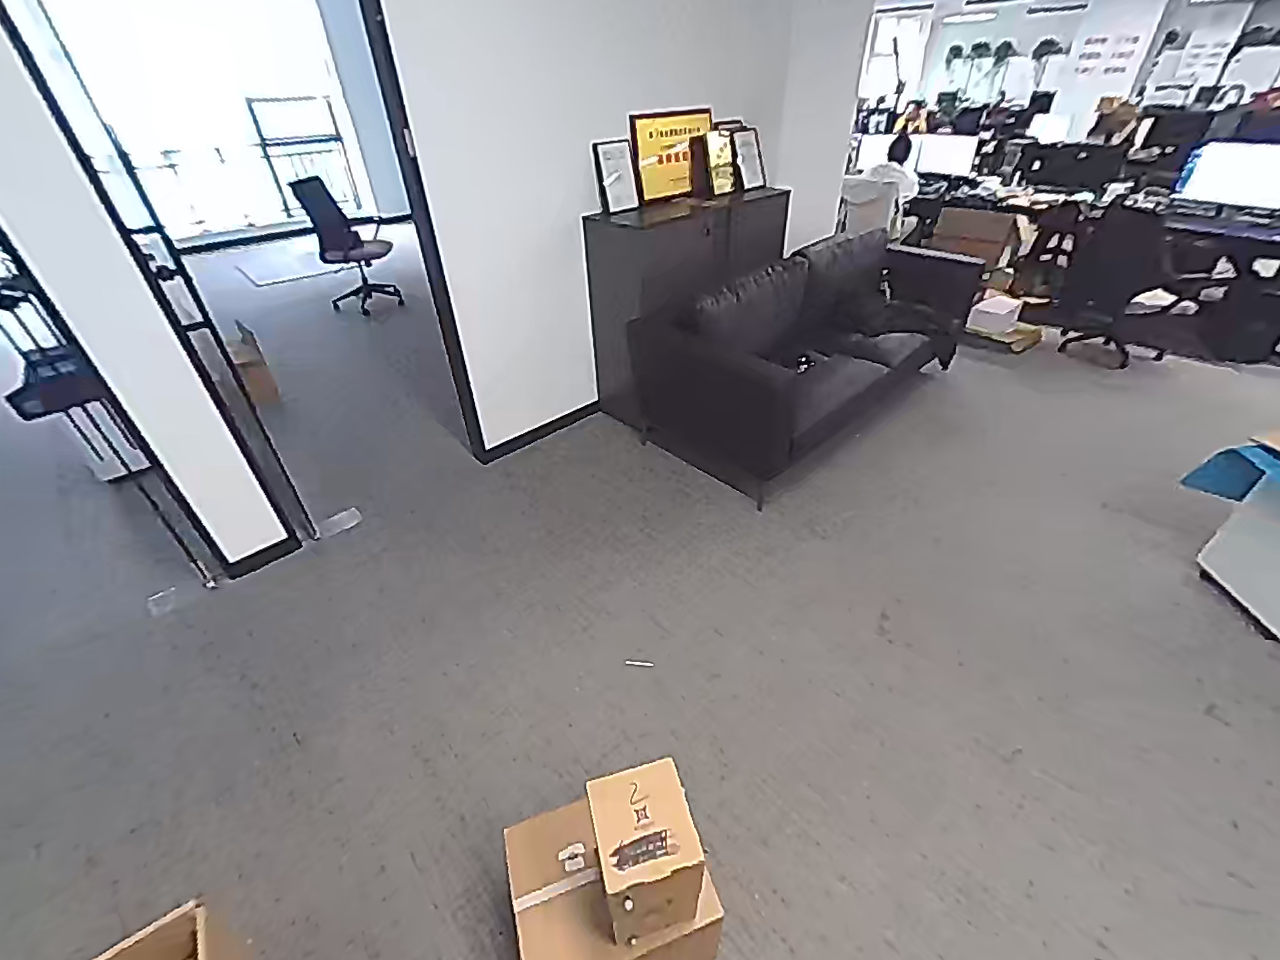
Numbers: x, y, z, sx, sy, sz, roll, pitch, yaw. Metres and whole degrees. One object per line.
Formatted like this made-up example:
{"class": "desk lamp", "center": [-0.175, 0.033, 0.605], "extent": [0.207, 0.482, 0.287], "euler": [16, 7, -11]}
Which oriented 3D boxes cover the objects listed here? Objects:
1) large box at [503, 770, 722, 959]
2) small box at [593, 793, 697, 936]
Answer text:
{"class": "large box", "center": [-0.065, 0.950, 1.237], "extent": [0.408, 0.320, 0.320], "euler": [-14, 38, -14]}
{"class": "small box", "center": [0.007, 0.766, 1.071], "extent": [0.168, 0.176, 0.179], "euler": [-10, 39, -12]}
